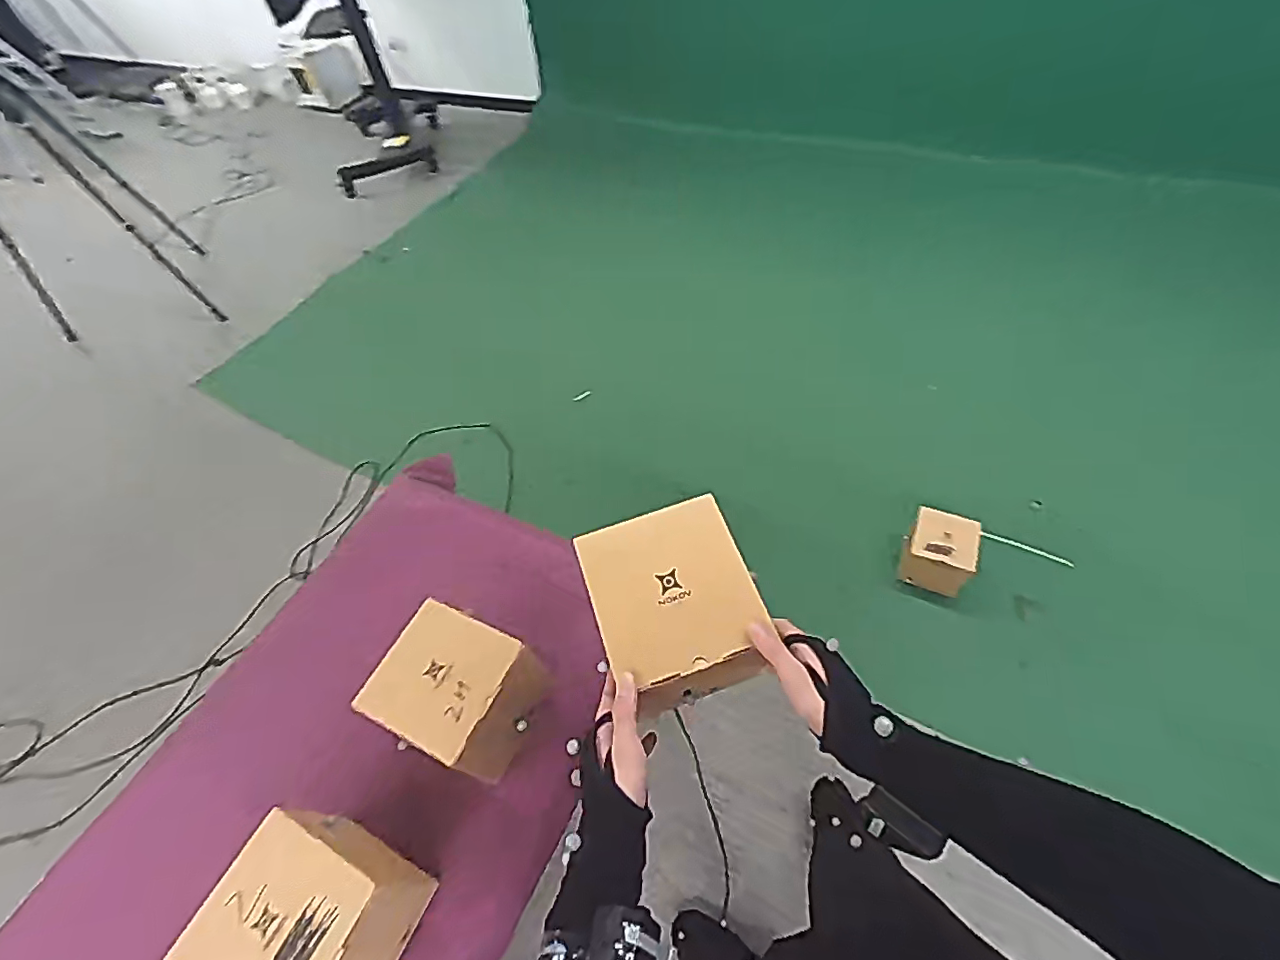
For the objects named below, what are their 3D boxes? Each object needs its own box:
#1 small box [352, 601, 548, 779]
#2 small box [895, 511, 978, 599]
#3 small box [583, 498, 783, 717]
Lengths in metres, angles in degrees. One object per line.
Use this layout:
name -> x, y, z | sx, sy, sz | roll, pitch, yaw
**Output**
small box -> -0.260, 0.308, 0.782 | 0.179, 0.176, 0.168 | 19, 60, 19
small box -> 0.877, 0.227, 1.611 | 0.168, 0.176, 0.179 | 18, 57, 19
small box -> 0.040, 0.152, 0.626 | 0.168, 0.176, 0.179 | -17, 61, -7
